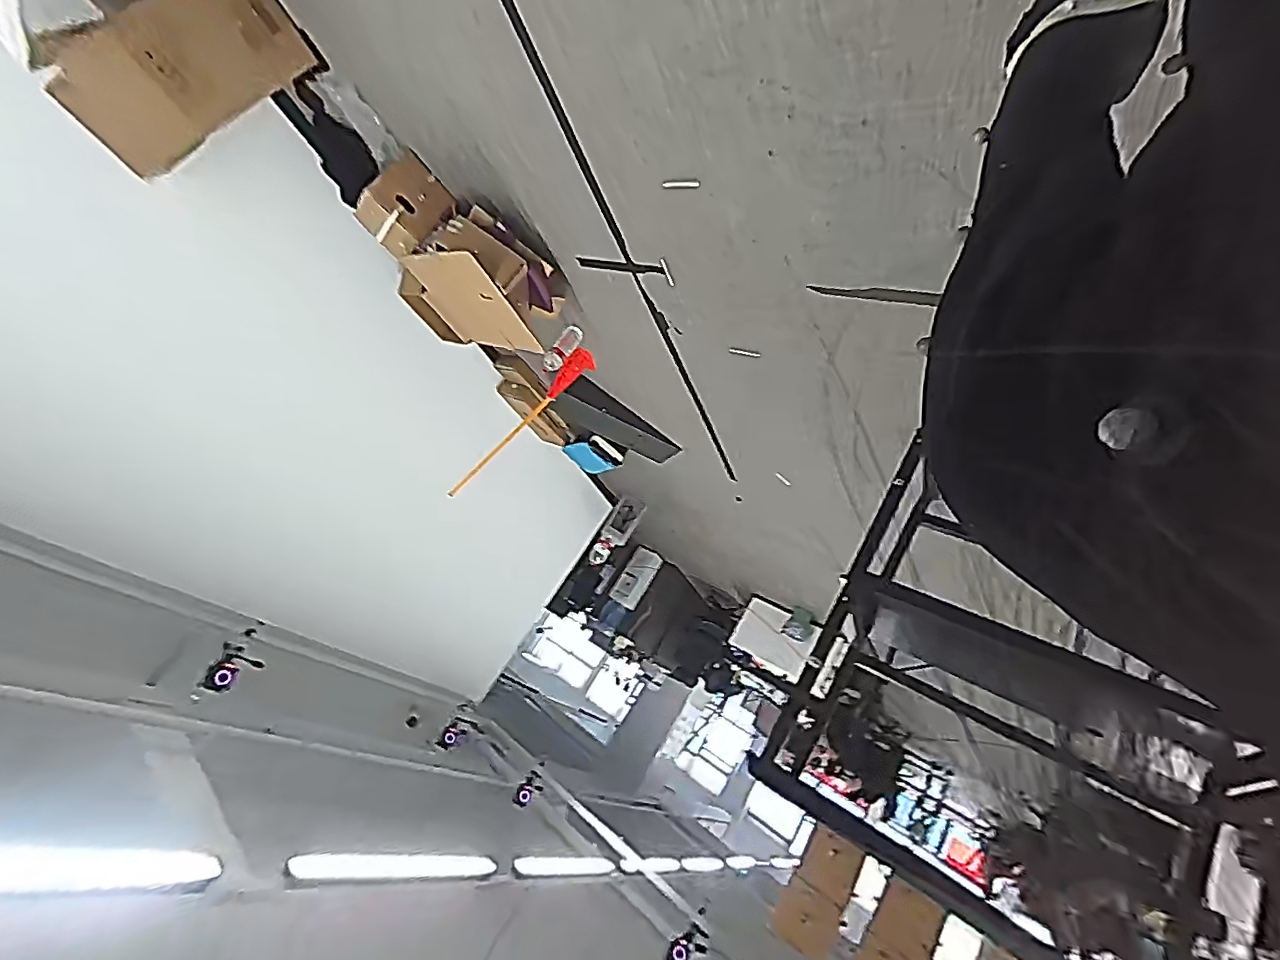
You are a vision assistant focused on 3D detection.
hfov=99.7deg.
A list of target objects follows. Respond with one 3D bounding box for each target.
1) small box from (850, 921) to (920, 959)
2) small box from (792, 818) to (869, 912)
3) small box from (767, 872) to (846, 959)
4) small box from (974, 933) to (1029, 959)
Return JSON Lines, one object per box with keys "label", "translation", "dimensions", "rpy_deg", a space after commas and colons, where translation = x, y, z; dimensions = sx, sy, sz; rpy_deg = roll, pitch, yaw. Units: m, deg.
{"label": "small box", "translation": [0.674, 1.369, 1.493], "dimensions": [0.168, 0.176, 0.179], "rpy_deg": [20, 159, 36]}
{"label": "small box", "translation": [0.588, 1.167, 1.654], "dimensions": [0.168, 0.176, 0.179], "rpy_deg": [21, 160, 34]}
{"label": "small box", "translation": [0.501, 1.299, 1.610], "dimensions": [0.168, 0.176, 0.179], "rpy_deg": [23, 160, 34]}
{"label": "small box", "translation": [0.962, 1.320, 1.392], "dimensions": [0.168, 0.176, 0.179], "rpy_deg": [23, 162, 33]}
